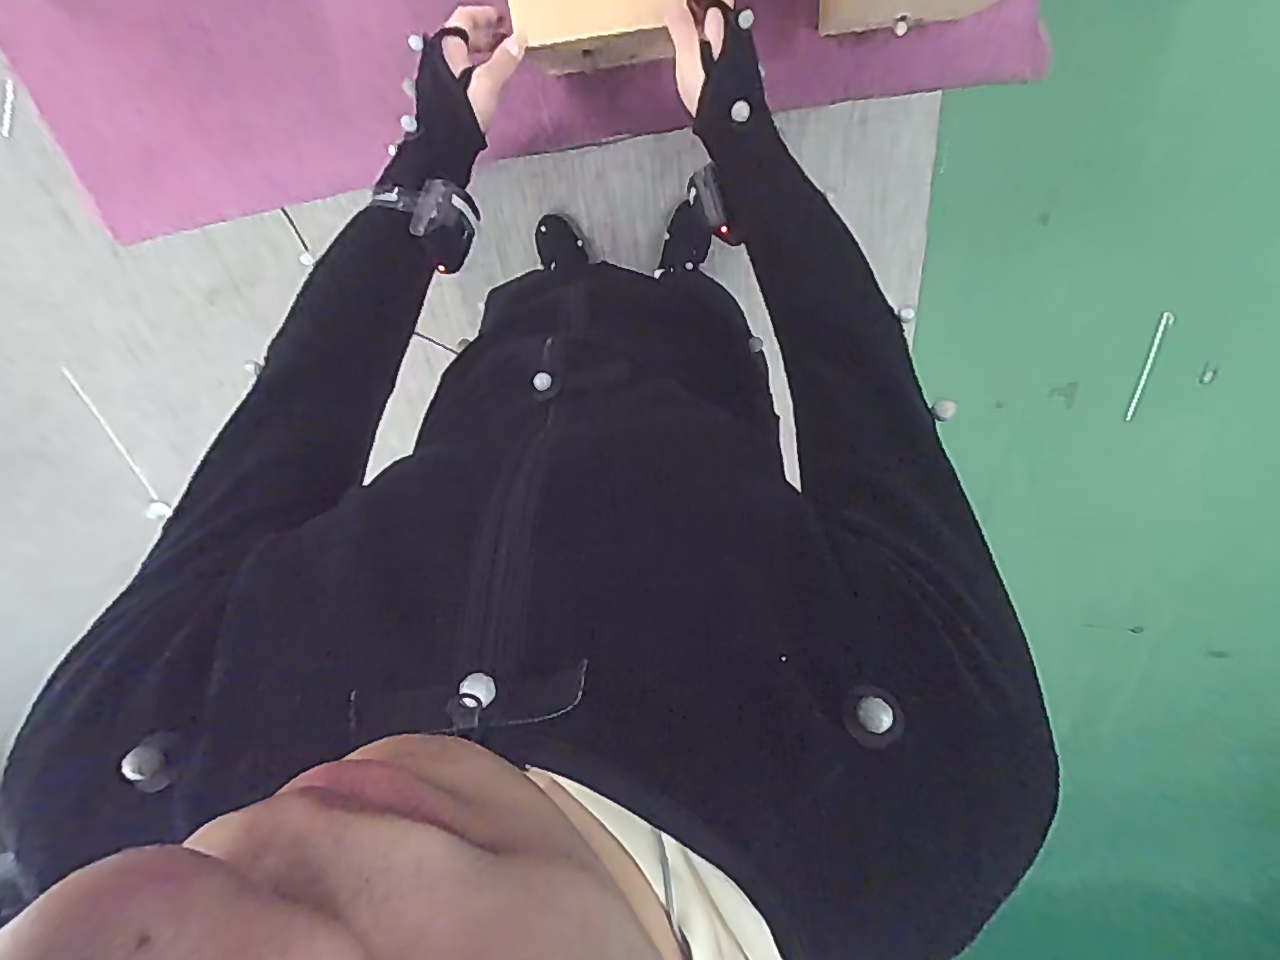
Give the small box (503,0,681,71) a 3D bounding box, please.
[{"bbox_3d":[-0.046,-0.527,0.535,0.168,0.176,0.179,-4,119,5],"label":"small box"}]
